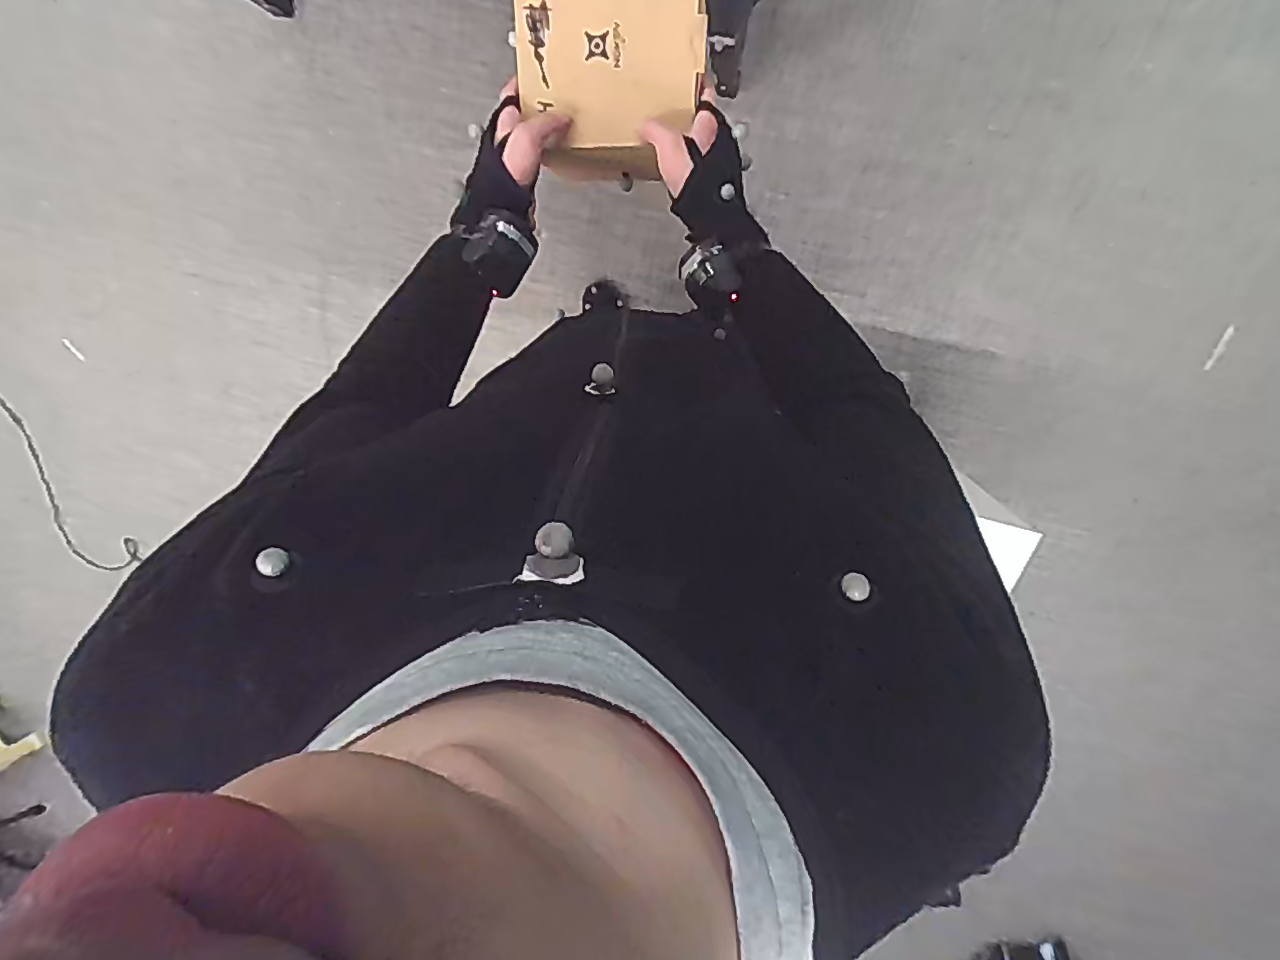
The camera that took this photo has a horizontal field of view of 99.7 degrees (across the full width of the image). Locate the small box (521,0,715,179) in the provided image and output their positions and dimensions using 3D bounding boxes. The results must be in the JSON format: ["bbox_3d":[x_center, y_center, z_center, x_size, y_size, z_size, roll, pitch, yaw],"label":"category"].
[{"bbox_3d":[-0.015,-0.425,0.568,0.179,0.176,0.168,2,110,5],"label":"small box"}]
